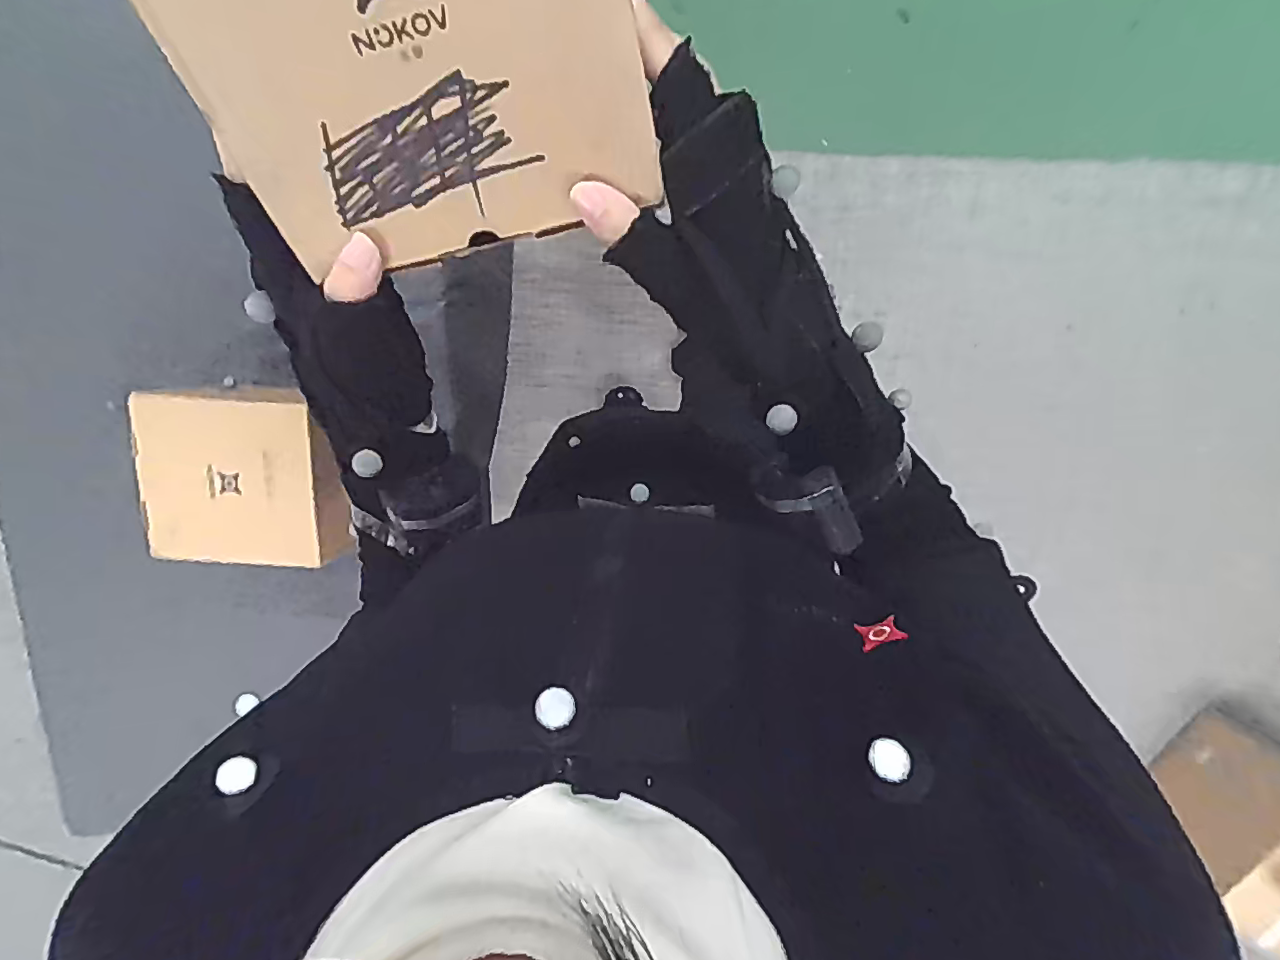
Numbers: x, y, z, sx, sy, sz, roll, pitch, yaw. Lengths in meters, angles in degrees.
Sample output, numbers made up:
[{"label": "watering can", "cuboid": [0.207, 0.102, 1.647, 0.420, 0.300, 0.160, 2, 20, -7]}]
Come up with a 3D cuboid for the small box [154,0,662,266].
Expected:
[{"label": "small box", "cuboid": [-0.085, -0.226, 0.241, 0.168, 0.176, 0.179, -10, 131, 8]}]

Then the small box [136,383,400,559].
[{"label": "small box", "cuboid": [-0.398, -0.020, 0.610, 0.179, 0.176, 0.168, 2, 103, 1]}]
